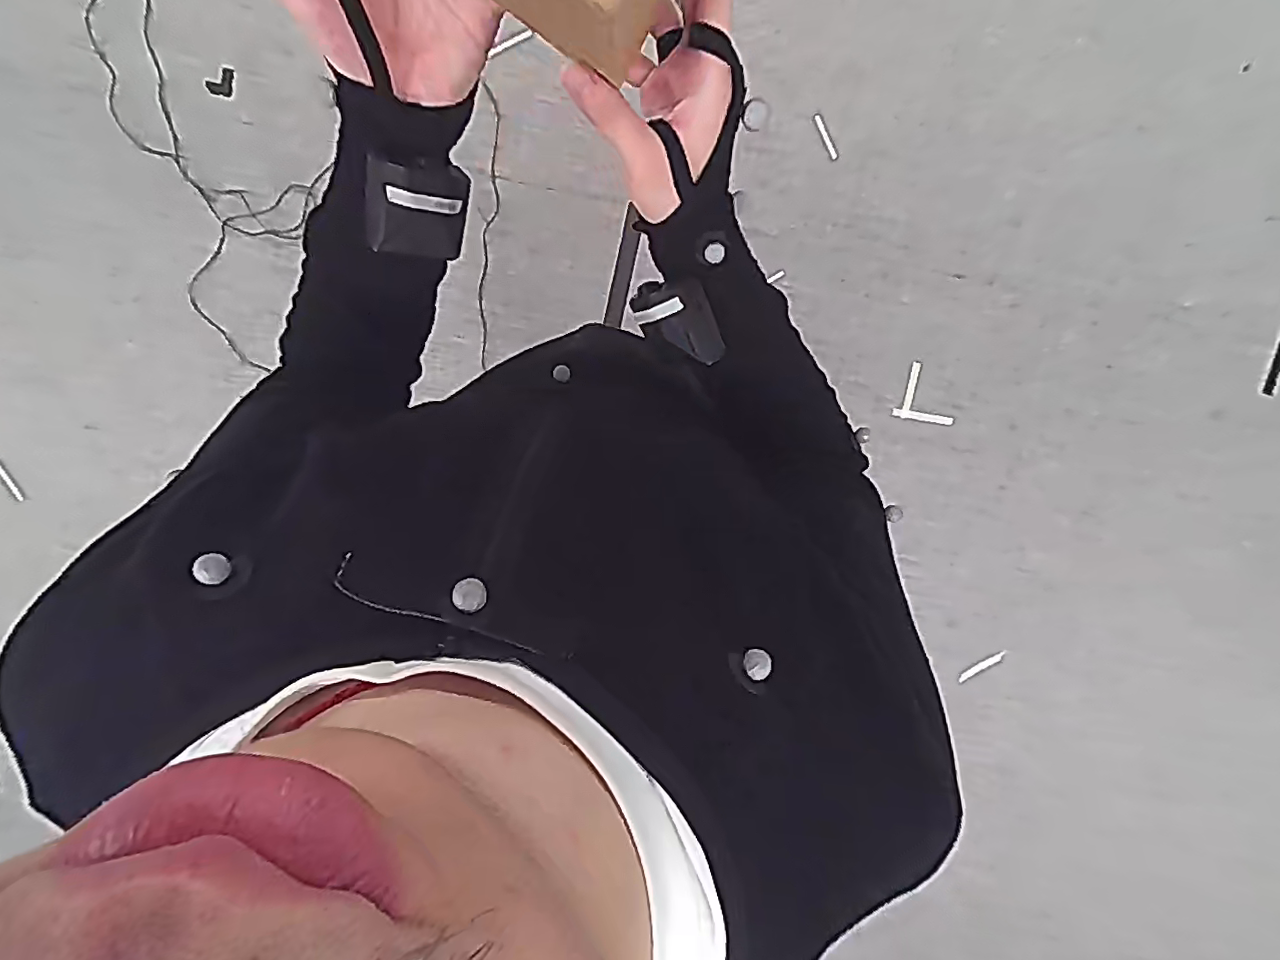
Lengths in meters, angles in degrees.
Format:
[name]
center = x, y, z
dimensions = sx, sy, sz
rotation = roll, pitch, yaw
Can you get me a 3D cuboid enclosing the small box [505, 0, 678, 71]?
[small box]
center = -0.035, -0.273, 0.174
dimensions = 0.179, 0.176, 0.168
rotation = 26, 116, -17
